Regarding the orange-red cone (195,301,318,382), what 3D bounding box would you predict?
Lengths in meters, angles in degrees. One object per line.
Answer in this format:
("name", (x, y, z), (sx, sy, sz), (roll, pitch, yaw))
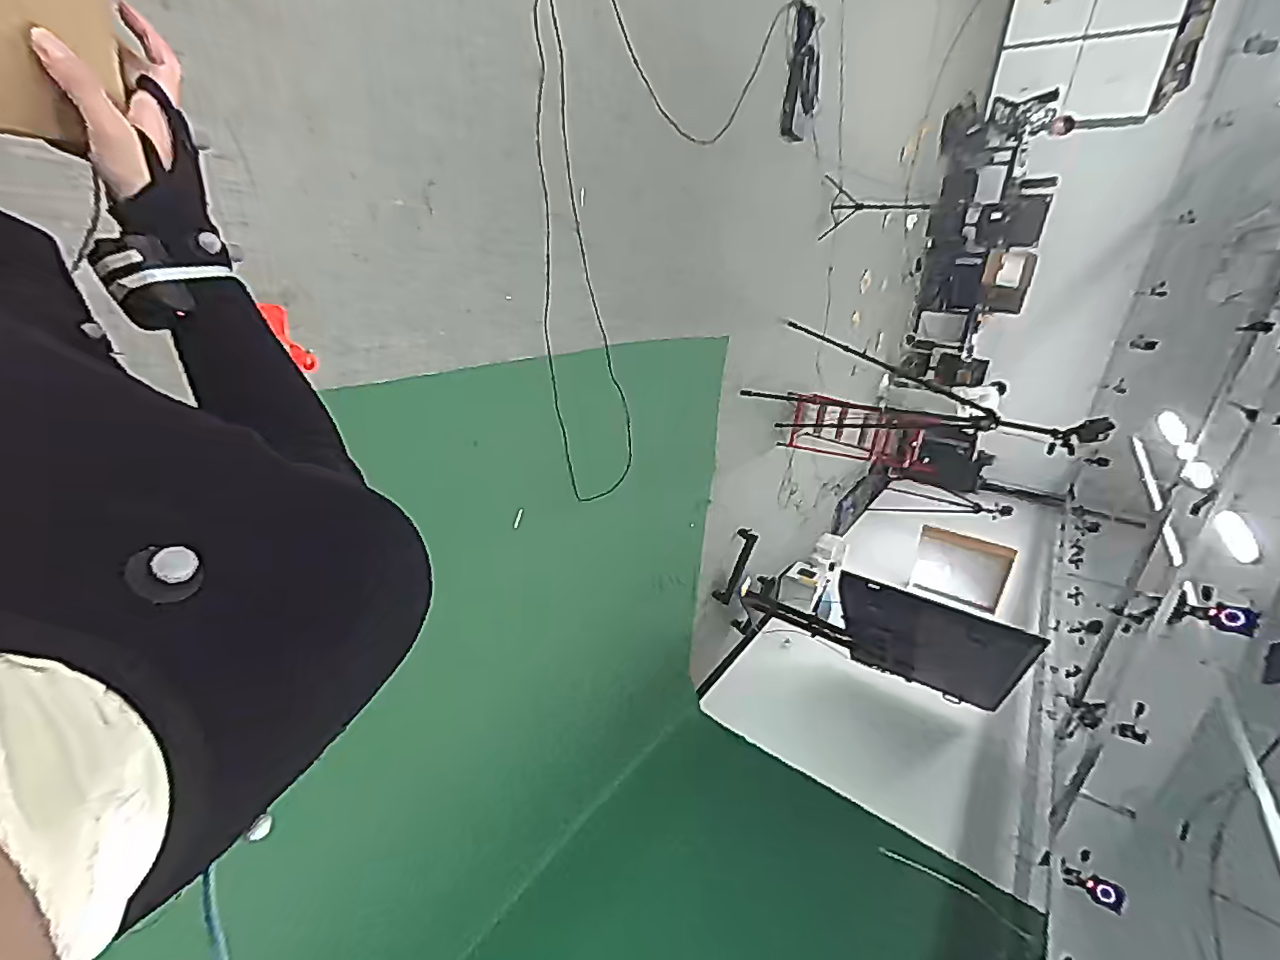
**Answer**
("orange-red cone", (-0.878, -0.303, 1.298), (0.199, 0.360, 0.198), (-16, 120, -54))
